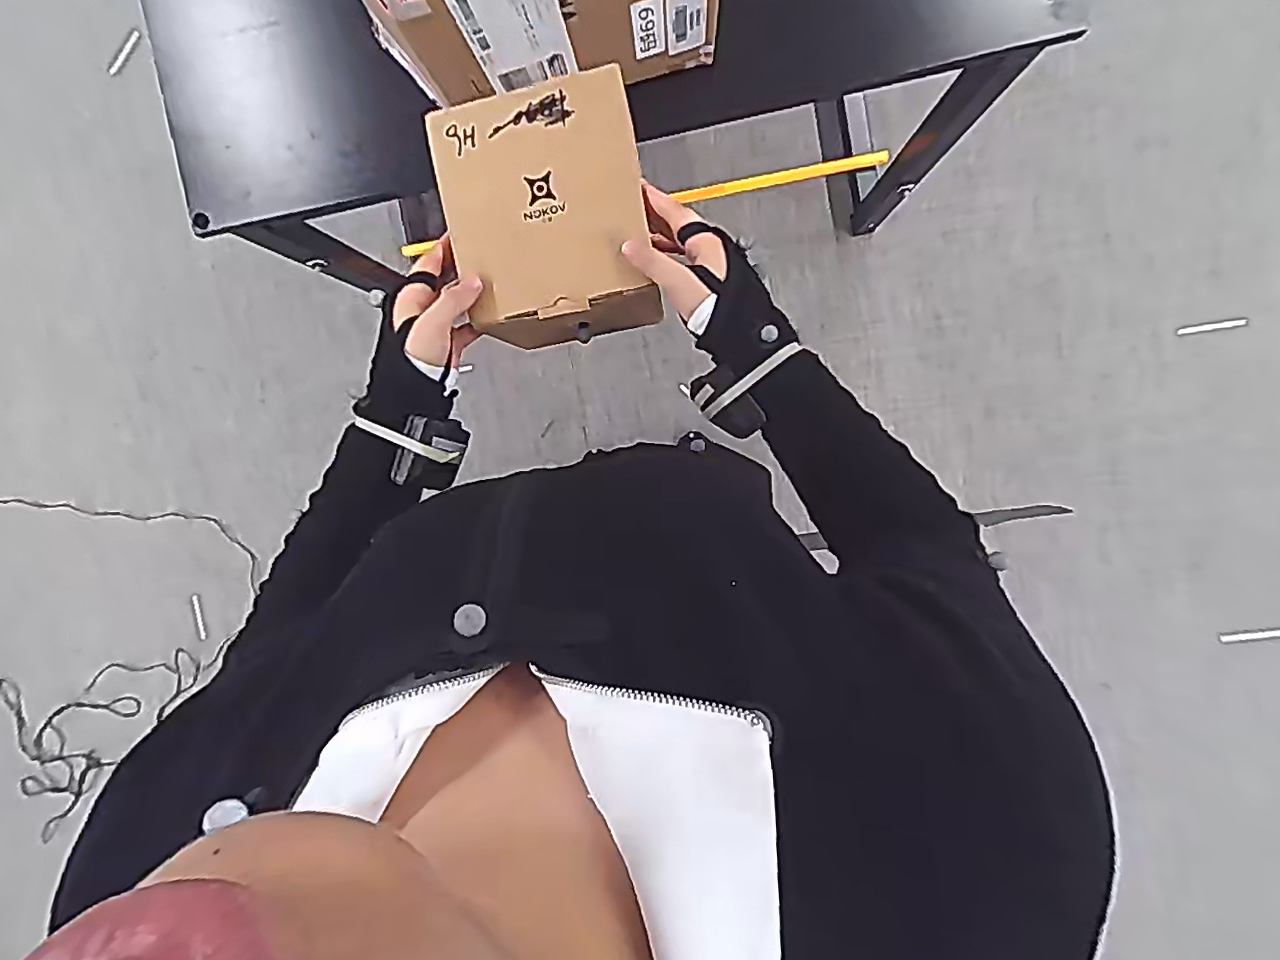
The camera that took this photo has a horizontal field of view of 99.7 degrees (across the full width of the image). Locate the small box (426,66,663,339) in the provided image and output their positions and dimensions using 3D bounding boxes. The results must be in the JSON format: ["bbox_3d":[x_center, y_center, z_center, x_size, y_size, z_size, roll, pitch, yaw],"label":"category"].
[{"bbox_3d":[-0.073,-0.239,0.521,0.168,0.176,0.179,-10,97,6],"label":"small box"}]
